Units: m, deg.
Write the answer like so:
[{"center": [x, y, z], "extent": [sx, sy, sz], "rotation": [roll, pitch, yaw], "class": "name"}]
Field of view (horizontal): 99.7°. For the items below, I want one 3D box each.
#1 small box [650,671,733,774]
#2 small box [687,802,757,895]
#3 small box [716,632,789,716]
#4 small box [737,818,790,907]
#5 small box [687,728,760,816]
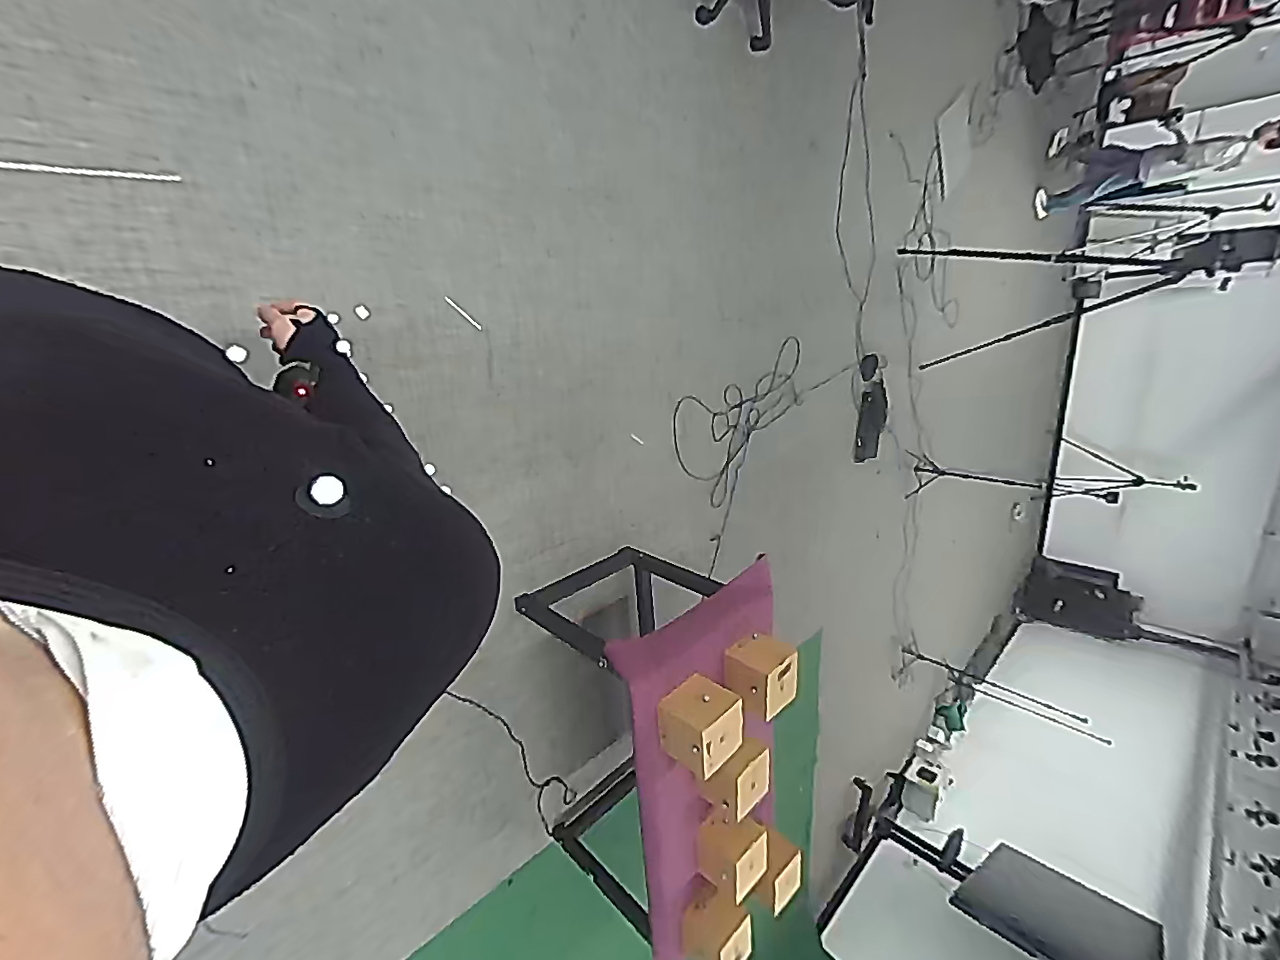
[{"center": [0.150, 0.681, 1.545], "extent": [0.179, 0.176, 0.168], "rotation": [-22, 116, -41], "class": "small box"}, {"center": [0.273, 1.219, 1.816], "extent": [0.168, 0.176, 0.179], "rotation": [-18, 112, -40], "class": "small box"}, {"center": [0.358, 0.610, 1.734], "extent": [0.168, 0.176, 0.179], "rotation": [-19, 114, -40], "class": "small box"}, {"center": [0.447, 1.435, 2.040], "extent": [0.168, 0.176, 0.179], "rotation": [-16, 111, -40], "class": "small box"}, {"center": [0.263, 0.904, 1.719], "extent": [0.168, 0.176, 0.179], "rotation": [-18, 113, -41], "class": "small box"}]
